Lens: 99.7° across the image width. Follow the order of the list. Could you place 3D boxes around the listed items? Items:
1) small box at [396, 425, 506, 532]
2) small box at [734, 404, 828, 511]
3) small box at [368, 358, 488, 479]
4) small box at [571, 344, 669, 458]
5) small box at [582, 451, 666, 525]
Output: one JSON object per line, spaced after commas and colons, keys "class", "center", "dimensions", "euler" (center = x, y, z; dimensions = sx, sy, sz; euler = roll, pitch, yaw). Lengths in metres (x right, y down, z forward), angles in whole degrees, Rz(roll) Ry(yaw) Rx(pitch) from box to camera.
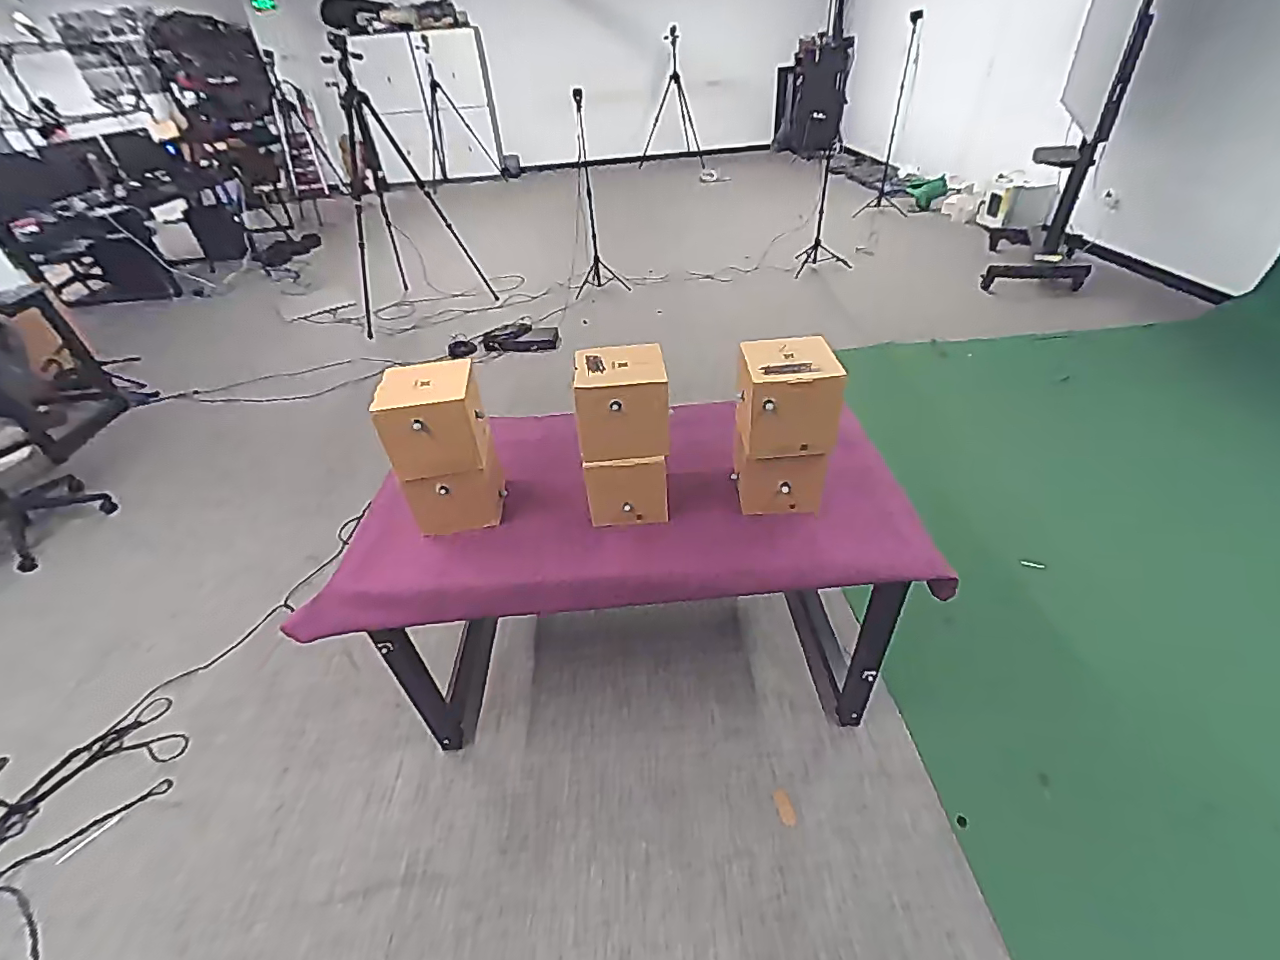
{"class": "small box", "center": [-0.407, -0.001, 1.193], "dimensions": [0.179, 0.176, 0.168], "euler": [-7, 40, -3]}
{"class": "small box", "center": [0.296, -0.044, 1.172], "dimensions": [0.168, 0.176, 0.179], "euler": [-3, 39, 3]}
{"class": "small box", "center": [-0.412, -0.124, 1.088], "dimensions": [0.179, 0.176, 0.168], "euler": [-9, 40, -4]}
{"class": "small box", "center": [-0.037, -0.156, 1.084], "dimensions": [0.179, 0.176, 0.168], "euler": [-5, 38, -1]}
{"class": "small box", "center": [-0.030, -0.023, 1.180], "dimensions": [0.168, 0.176, 0.179], "euler": [-4, 39, 2]}
